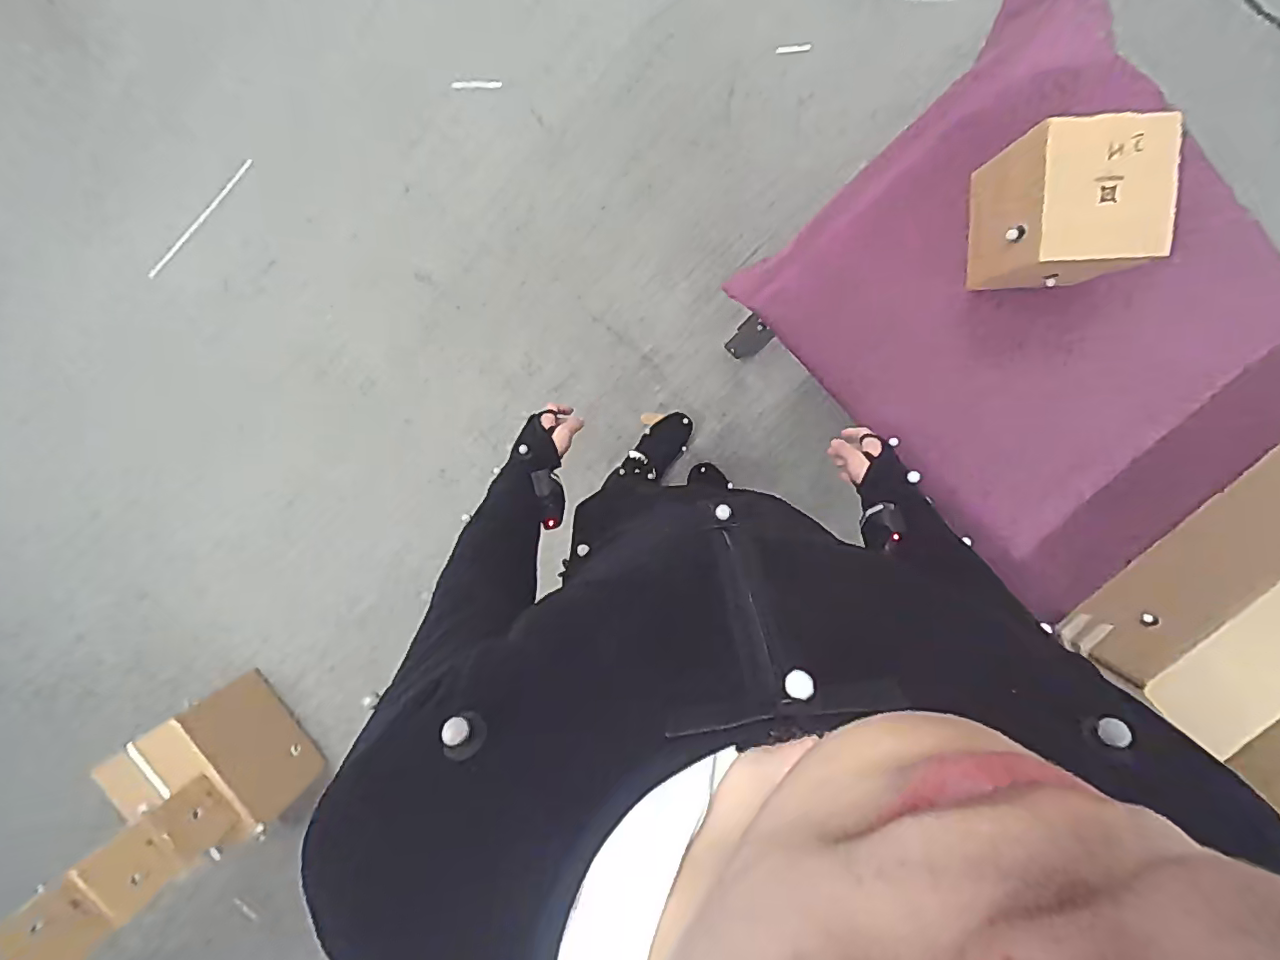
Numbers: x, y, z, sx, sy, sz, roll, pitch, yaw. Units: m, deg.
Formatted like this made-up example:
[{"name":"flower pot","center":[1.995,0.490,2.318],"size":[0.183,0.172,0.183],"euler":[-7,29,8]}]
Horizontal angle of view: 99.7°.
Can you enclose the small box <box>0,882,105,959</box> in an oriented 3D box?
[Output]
[{"name":"small box","center":[-1.233,0.957,1.070],"size":[0.179,0.176,0.168],"euler":[-37,94,7]}]

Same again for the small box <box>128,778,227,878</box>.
[{"name":"small box","center":[-1.220,0.917,1.393],"size":[0.179,0.176,0.168],"euler":[-36,94,4]}]

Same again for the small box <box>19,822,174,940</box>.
[{"name":"small box","center":[-1.225,0.933,1.231],"size":[0.179,0.176,0.168],"euler":[-36,95,6]}]

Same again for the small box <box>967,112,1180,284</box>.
[{"name":"small box","center":[0.591,-0.381,0.763],"size":[0.168,0.176,0.179],"euler":[-1,97,1]}]
